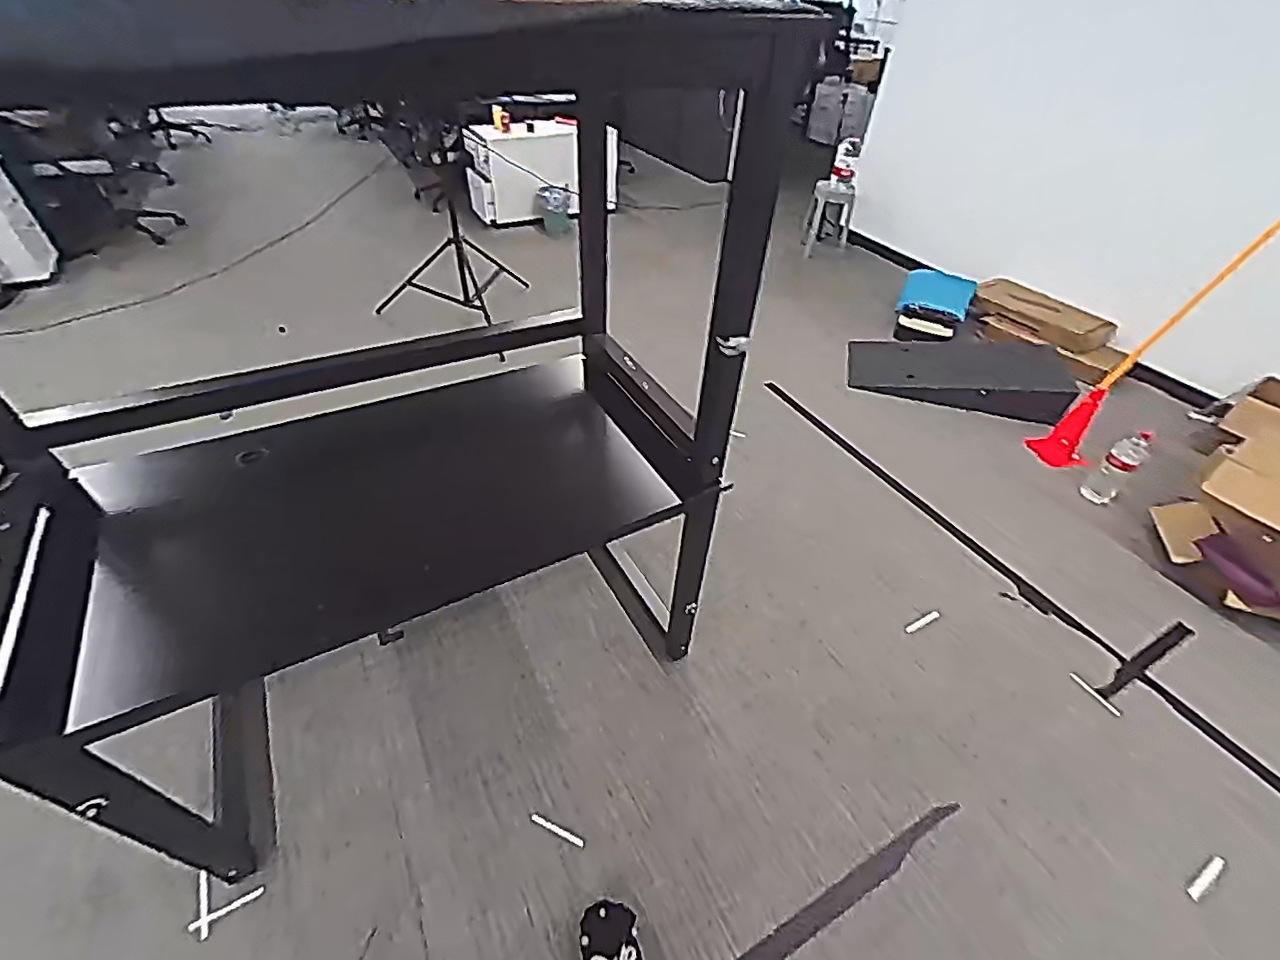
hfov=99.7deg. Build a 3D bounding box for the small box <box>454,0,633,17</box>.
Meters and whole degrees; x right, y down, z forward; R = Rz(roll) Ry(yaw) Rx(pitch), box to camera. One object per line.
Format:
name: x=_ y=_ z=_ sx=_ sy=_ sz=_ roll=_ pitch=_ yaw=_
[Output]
small box: x=-0.112 y=-0.576 z=0.535 sx=0.168 sy=0.176 sz=0.179 roll=-19 pitch=47 yaw=-21
